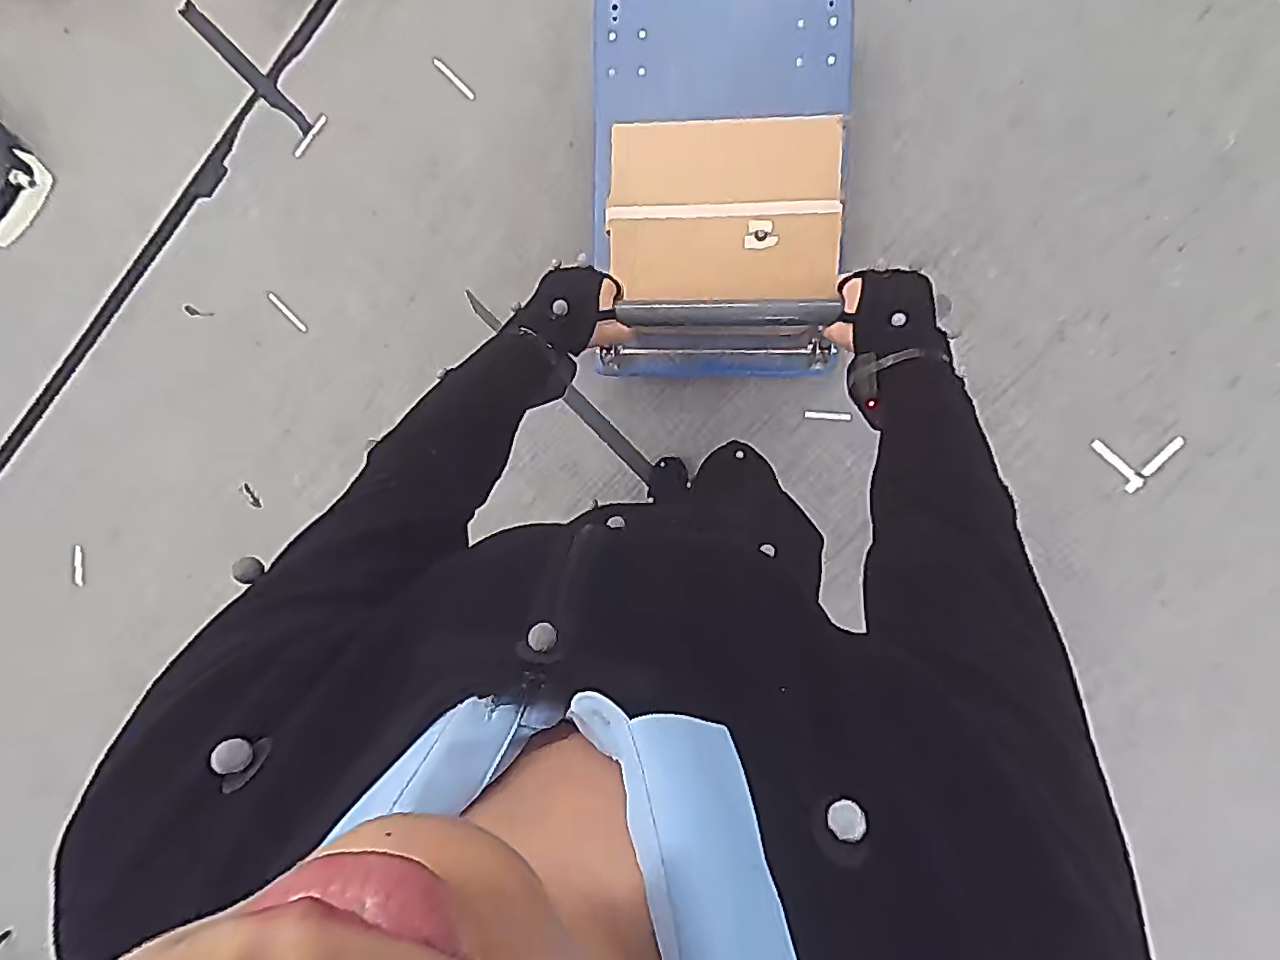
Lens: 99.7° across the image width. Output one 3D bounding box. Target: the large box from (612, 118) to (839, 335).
[{"bbox_3d":[0.158,-0.487,1.111,0.408,0.320,0.320,1,95,5],"label":"large box"}]
